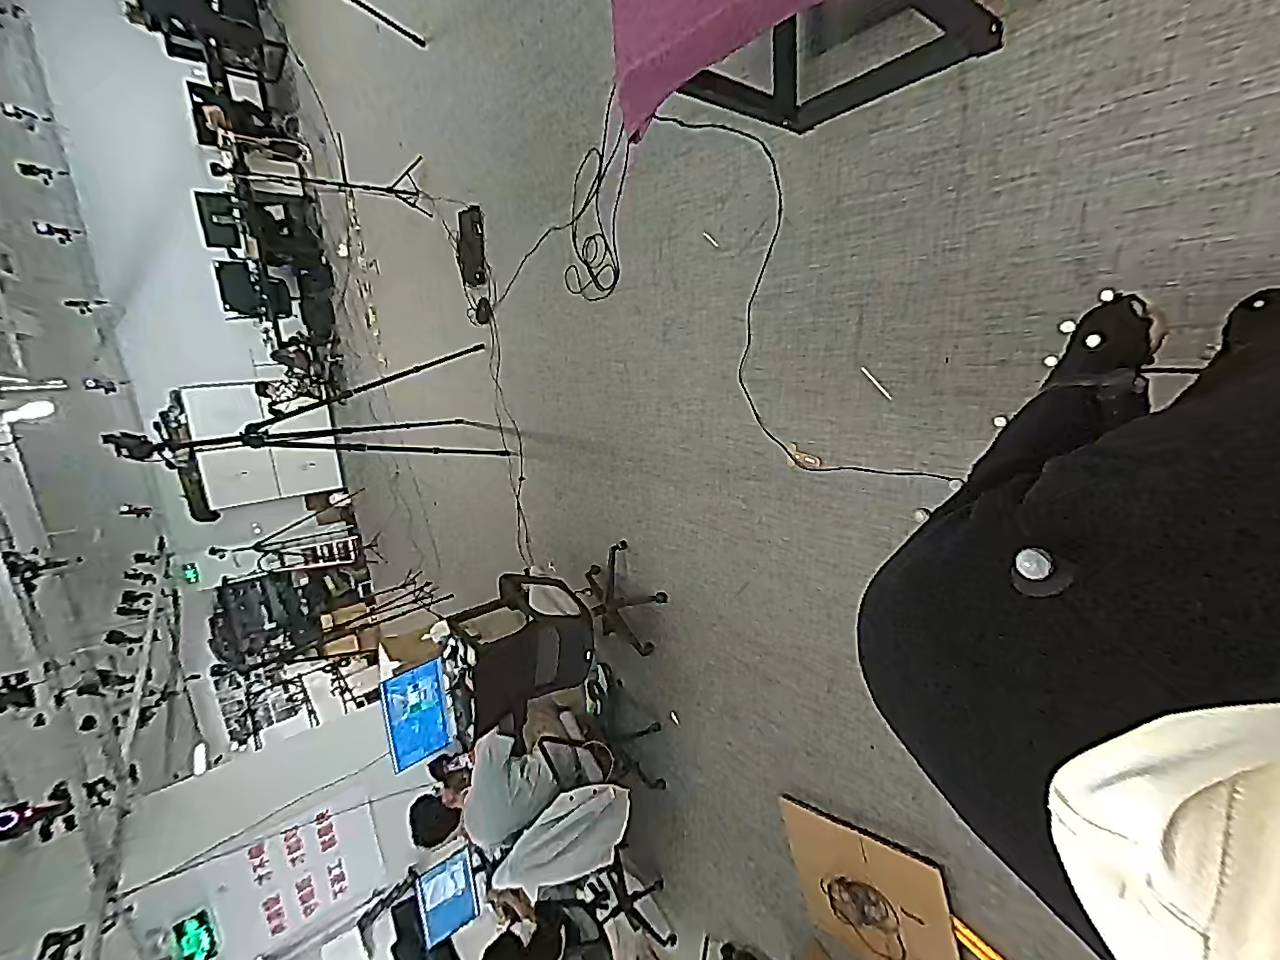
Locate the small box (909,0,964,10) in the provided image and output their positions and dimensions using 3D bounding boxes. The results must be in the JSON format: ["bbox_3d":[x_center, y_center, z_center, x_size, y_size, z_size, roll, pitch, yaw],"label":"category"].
[{"bbox_3d":[0.750,-1.253,1.271,0.168,0.176,0.179,16,114,49],"label":"small box"}]
